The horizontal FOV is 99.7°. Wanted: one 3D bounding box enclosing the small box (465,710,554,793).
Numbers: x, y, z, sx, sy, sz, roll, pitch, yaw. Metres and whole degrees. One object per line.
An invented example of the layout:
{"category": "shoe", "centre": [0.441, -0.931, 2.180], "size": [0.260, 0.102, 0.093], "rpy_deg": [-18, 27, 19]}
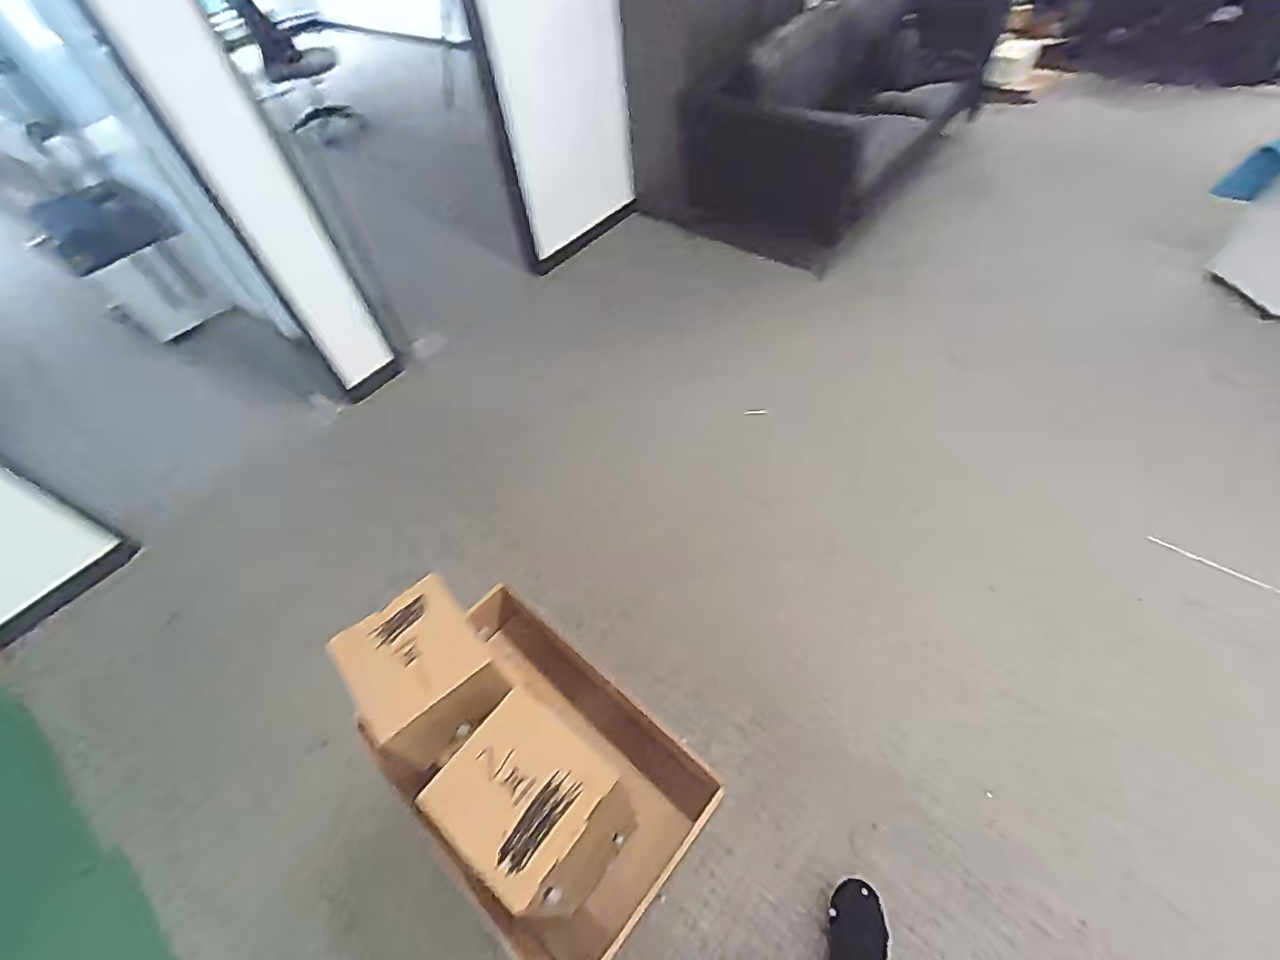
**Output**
{"category": "small box", "centre": [-0.293, 0.489, 1.054], "size": [0.179, 0.176, 0.168], "rpy_deg": [33, 62, 26]}

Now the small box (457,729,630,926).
{"category": "small box", "centre": [-0.131, 0.513, 0.805], "size": [0.179, 0.176, 0.168], "rpy_deg": [30, 59, 27]}

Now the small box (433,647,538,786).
{"category": "small box", "centre": [-0.301, 0.390, 0.925], "size": [0.179, 0.176, 0.168], "rpy_deg": [33, 61, 25]}

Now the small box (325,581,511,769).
{"category": "small box", "centre": [-0.317, 0.290, 0.797], "size": [0.168, 0.176, 0.179], "rpy_deg": [-35, 59, -21]}
